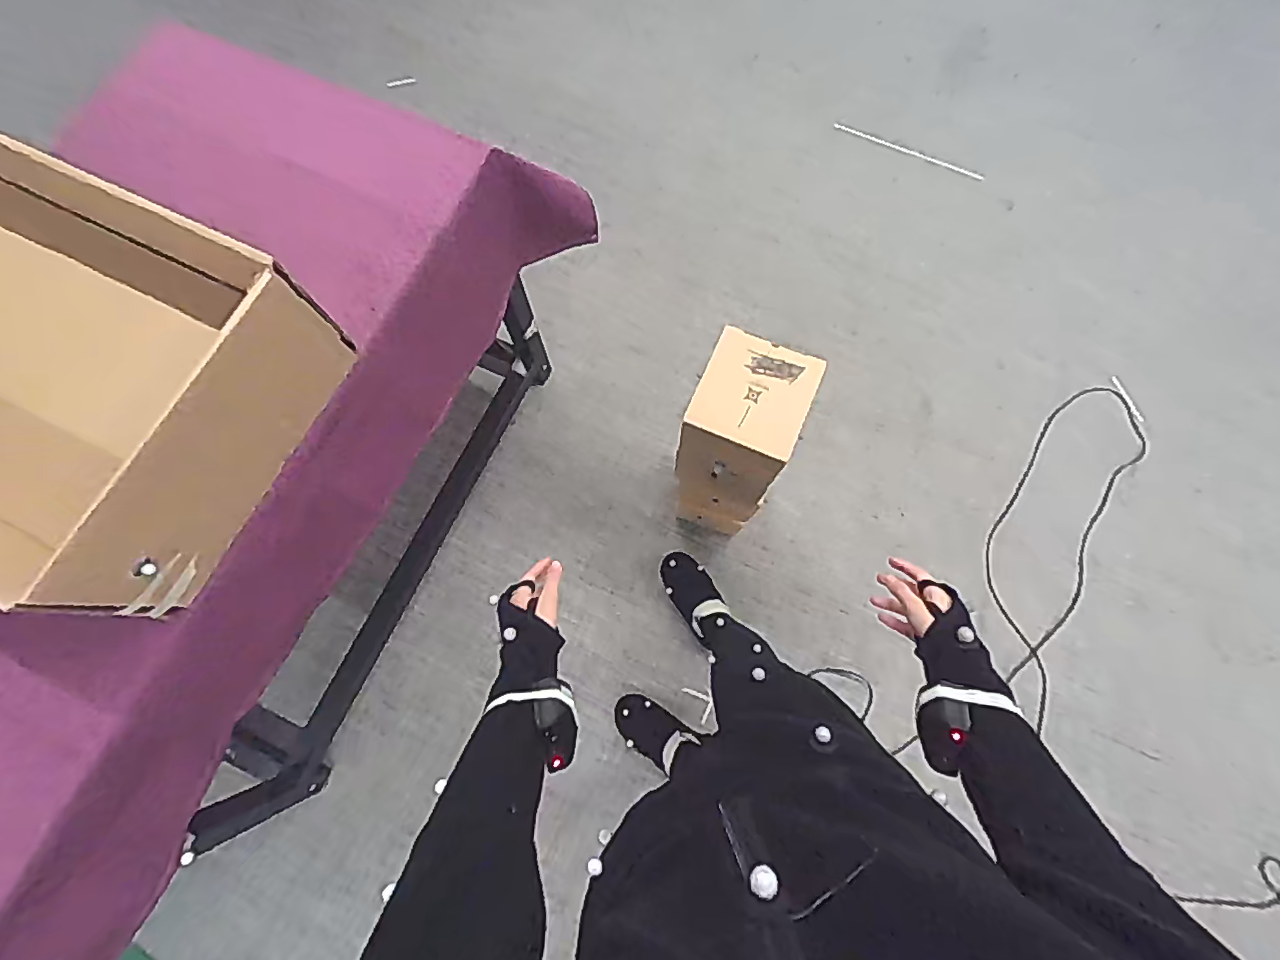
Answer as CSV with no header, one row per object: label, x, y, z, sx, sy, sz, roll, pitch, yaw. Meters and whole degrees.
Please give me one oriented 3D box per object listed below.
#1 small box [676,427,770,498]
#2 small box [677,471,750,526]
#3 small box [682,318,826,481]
small box,0.179,-0.081,1.034,0.179,0.176,0.168,25,78,7
small box,0.195,0.004,1.353,0.168,0.176,0.179,18,77,5
small box,0.172,-0.121,0.875,0.168,0.176,0.179,23,78,7
